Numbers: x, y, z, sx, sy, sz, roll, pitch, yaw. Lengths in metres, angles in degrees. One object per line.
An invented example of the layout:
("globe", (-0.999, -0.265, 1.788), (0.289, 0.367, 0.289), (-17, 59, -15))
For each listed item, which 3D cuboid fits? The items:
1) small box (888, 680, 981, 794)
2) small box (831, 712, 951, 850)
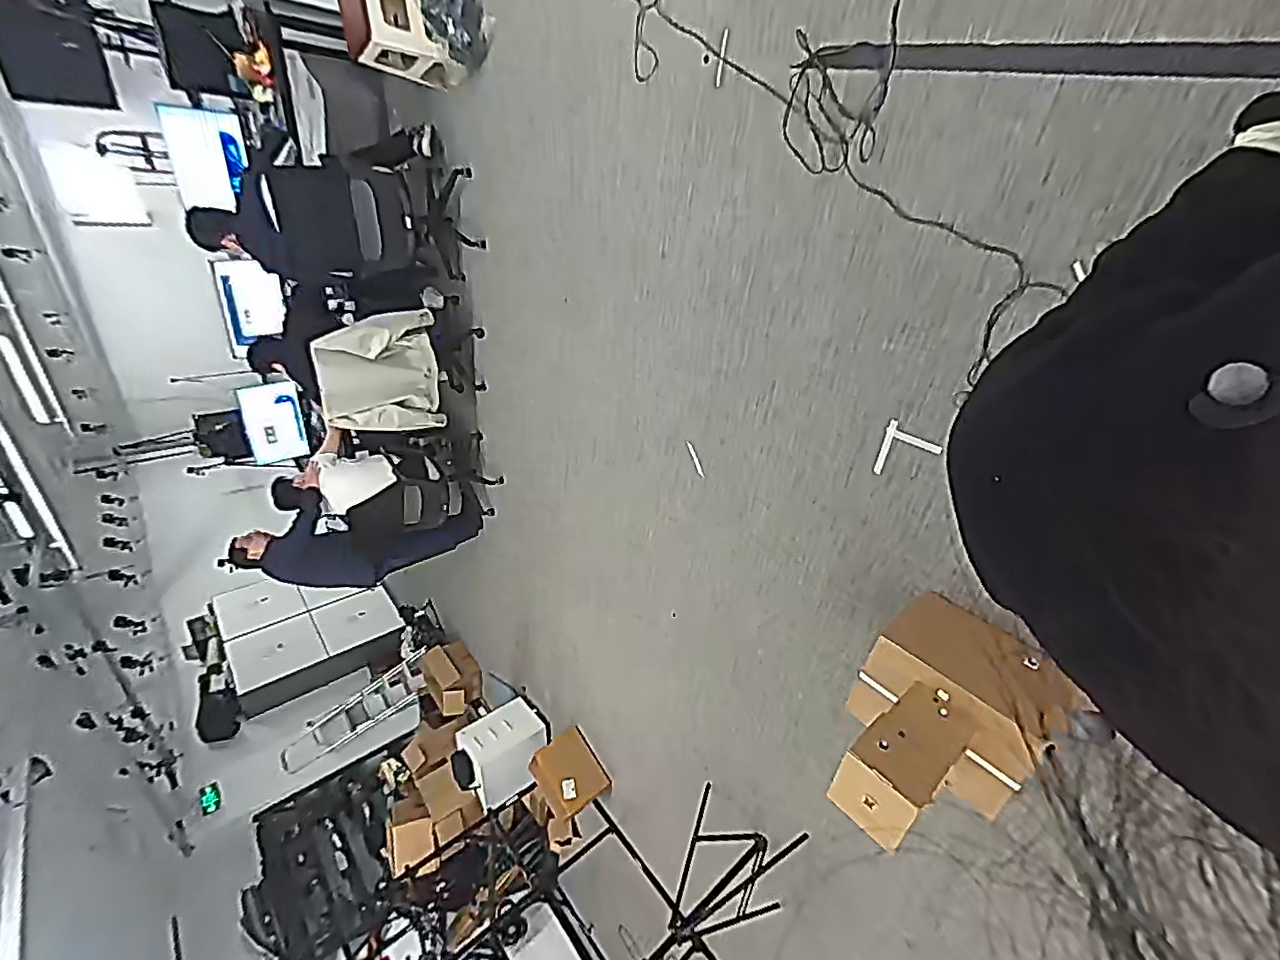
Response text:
("small box", (0.689, 0.628, 1.311), (0.168, 0.176, 0.179), (34, 129, 38))
("small box", (0.565, 0.664, 1.213), (0.168, 0.176, 0.179), (33, 130, 40))
